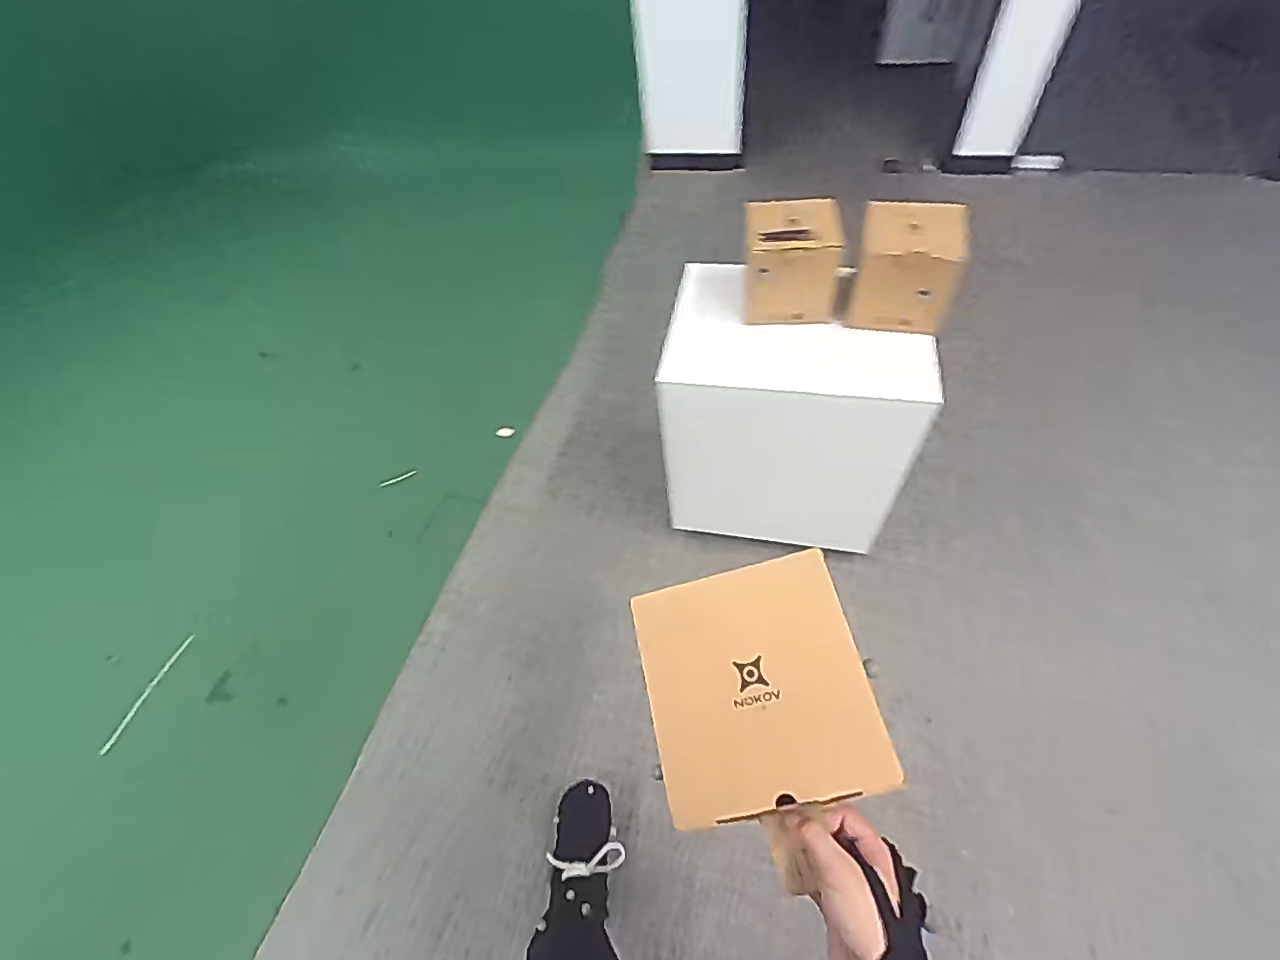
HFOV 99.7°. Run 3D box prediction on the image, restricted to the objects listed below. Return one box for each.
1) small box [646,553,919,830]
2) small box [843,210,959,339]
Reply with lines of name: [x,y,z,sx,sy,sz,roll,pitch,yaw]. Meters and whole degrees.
small box: [0.113,0.187,0.479,0.168,0.176,0.179,-15,62,8]
small box: [0.496,-0.394,1.045,0.168,0.176,0.179,9,55,13]
